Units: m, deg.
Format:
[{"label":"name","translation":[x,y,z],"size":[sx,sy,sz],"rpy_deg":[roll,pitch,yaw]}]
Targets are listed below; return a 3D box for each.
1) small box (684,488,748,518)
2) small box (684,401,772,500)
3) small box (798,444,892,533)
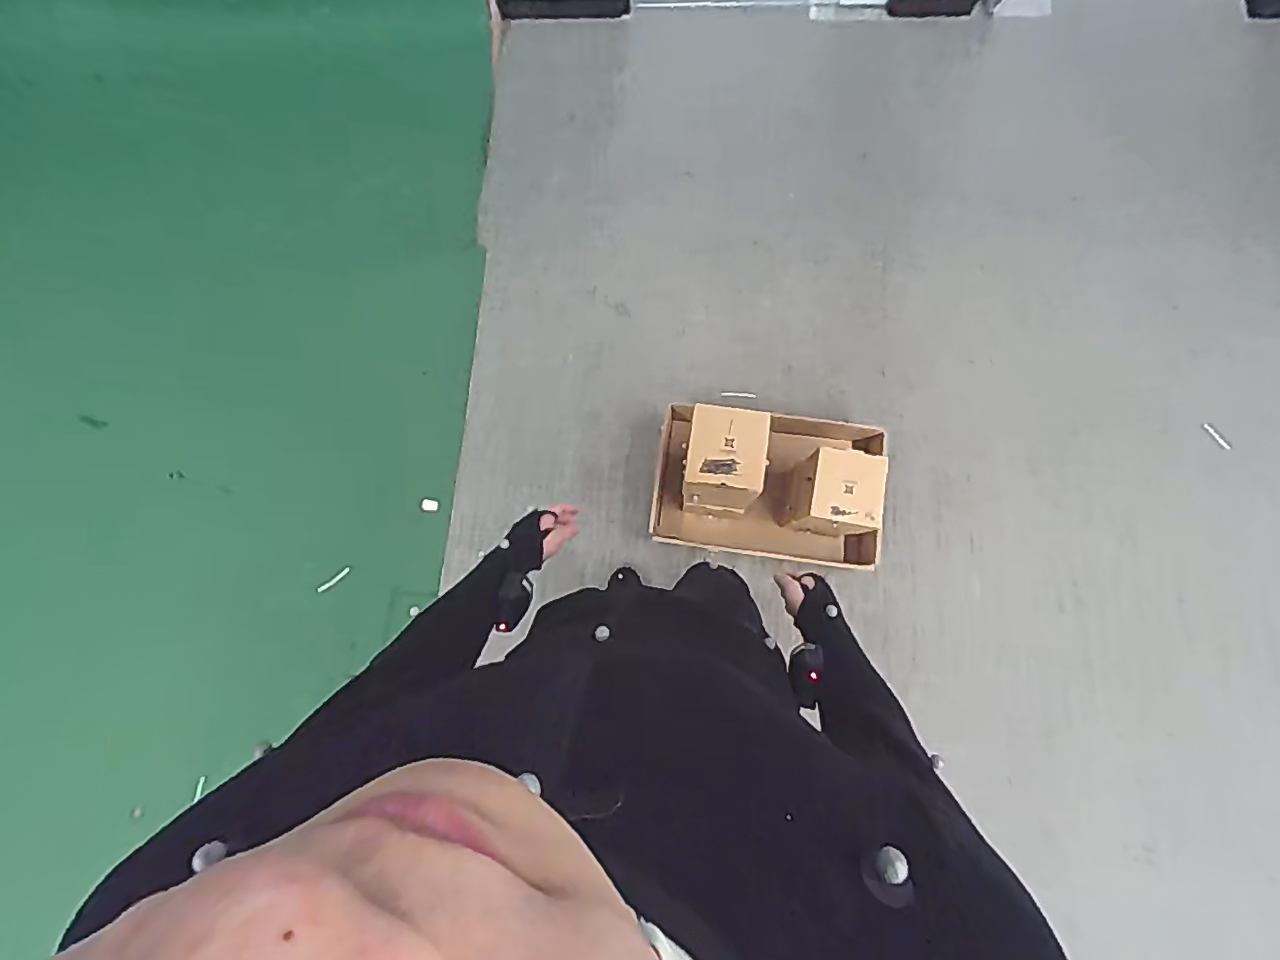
[{"label":"small box","translation":[0.219,0.002,1.531],"size":[0.168,0.176,0.179],"rpy_deg":[8,80,5]},{"label":"small box","translation":[0.191,-0.058,1.210],"size":[0.168,0.176,0.179],"rpy_deg":[8,79,4]},{"label":"small box","translation":[0.501,0.026,1.343],"size":[0.168,0.176,0.179],"rpy_deg":[11,81,6]}]
